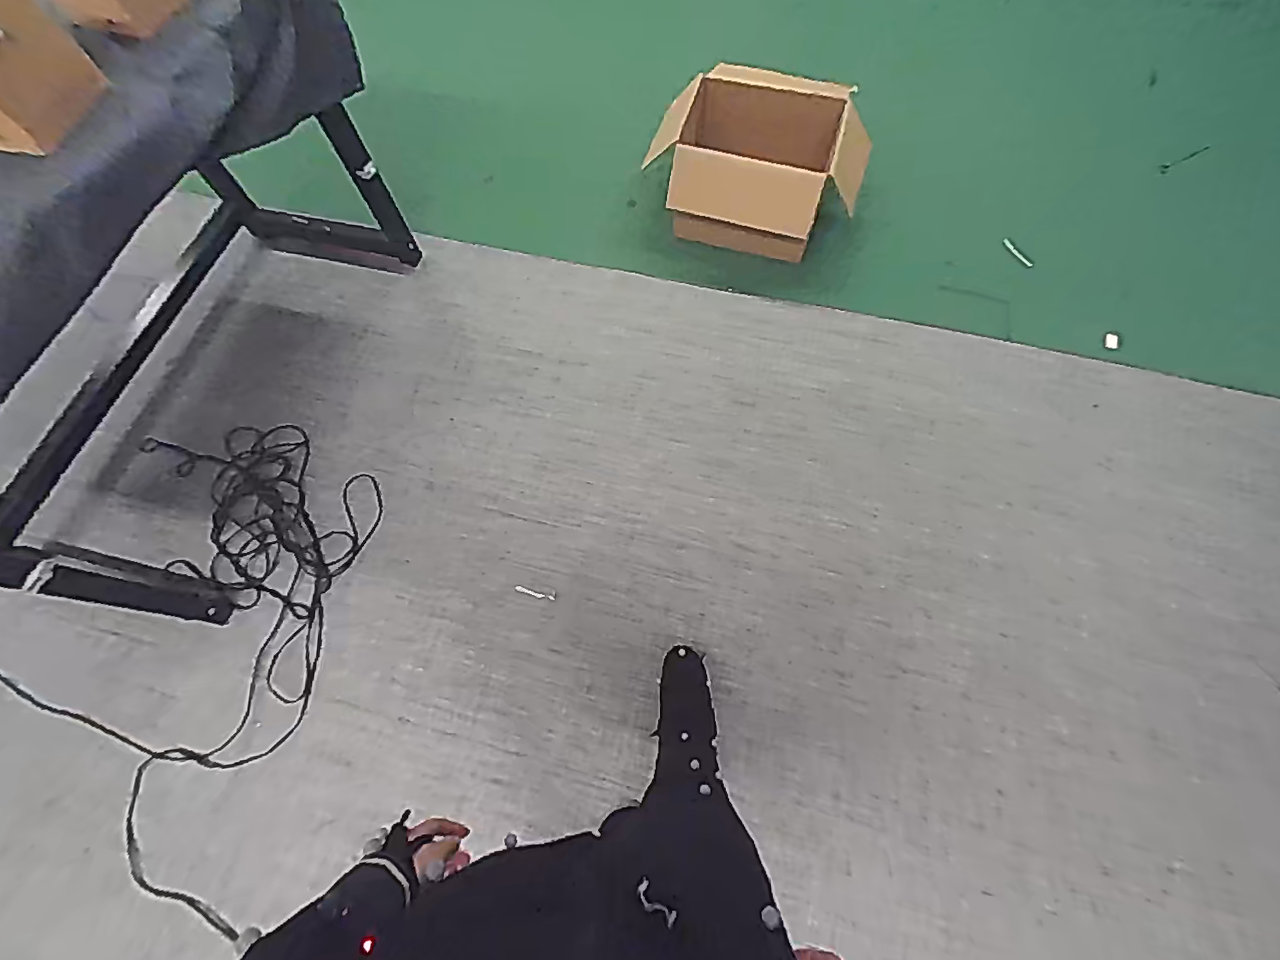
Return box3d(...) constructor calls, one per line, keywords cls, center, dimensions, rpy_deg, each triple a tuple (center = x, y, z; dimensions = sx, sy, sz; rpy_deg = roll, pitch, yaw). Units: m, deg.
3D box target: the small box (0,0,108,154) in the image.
box3d(cls="small box", center=(-0.961, -0.625, 0.797), dimensions=(0.168, 0.176, 0.179), rpy_deg=(11, 69, 6))
